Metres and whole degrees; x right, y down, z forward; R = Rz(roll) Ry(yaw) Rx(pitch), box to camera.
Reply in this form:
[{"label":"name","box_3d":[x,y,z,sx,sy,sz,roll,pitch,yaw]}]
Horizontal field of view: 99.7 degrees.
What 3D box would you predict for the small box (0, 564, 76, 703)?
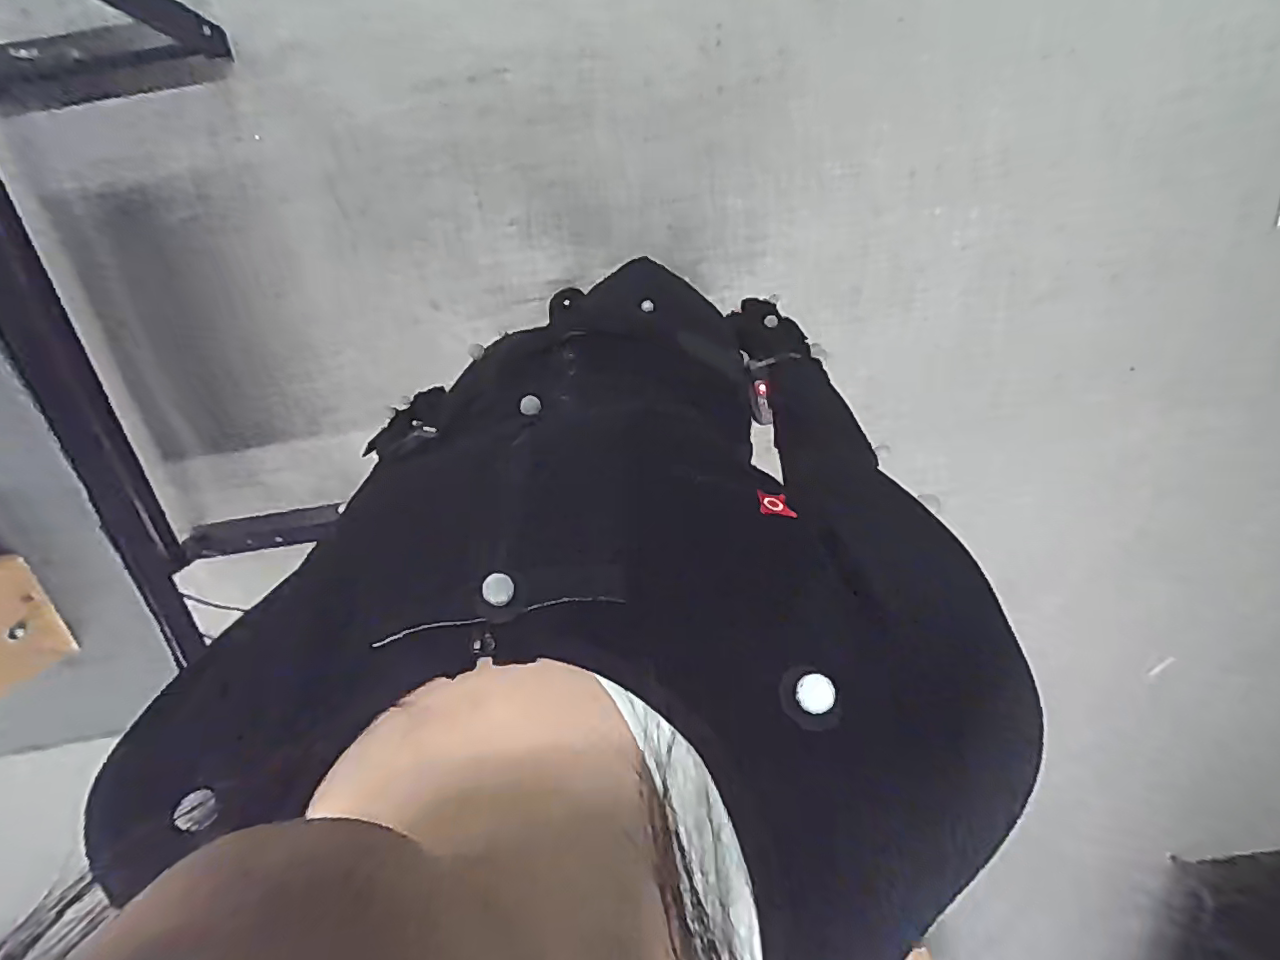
[{"label":"small box","box_3d":[-0.936,0.229,0.714,0.179,0.176,0.168,-9,109,3]}]
